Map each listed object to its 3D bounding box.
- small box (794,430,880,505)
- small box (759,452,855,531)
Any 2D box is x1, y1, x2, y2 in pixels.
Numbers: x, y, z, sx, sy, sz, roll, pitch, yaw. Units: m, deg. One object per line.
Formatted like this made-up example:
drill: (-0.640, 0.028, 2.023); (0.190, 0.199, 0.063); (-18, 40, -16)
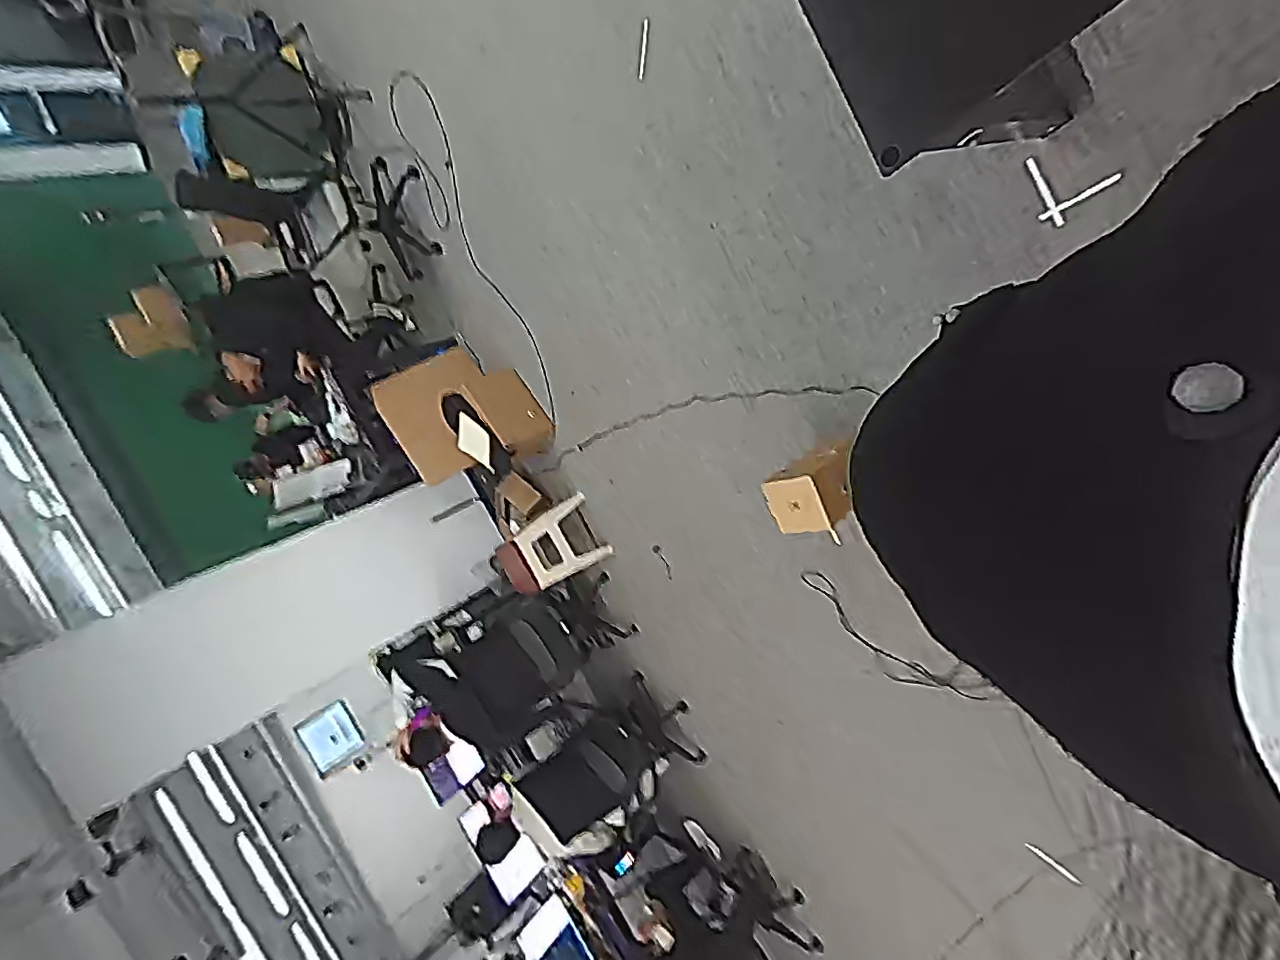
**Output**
small box: (0.601, -0.029, 1.654); (0.168, 0.176, 0.179); (-21, 98, 53)
small box: (0.484, 0.034, 1.559); (0.179, 0.176, 0.168); (-14, 103, 52)
